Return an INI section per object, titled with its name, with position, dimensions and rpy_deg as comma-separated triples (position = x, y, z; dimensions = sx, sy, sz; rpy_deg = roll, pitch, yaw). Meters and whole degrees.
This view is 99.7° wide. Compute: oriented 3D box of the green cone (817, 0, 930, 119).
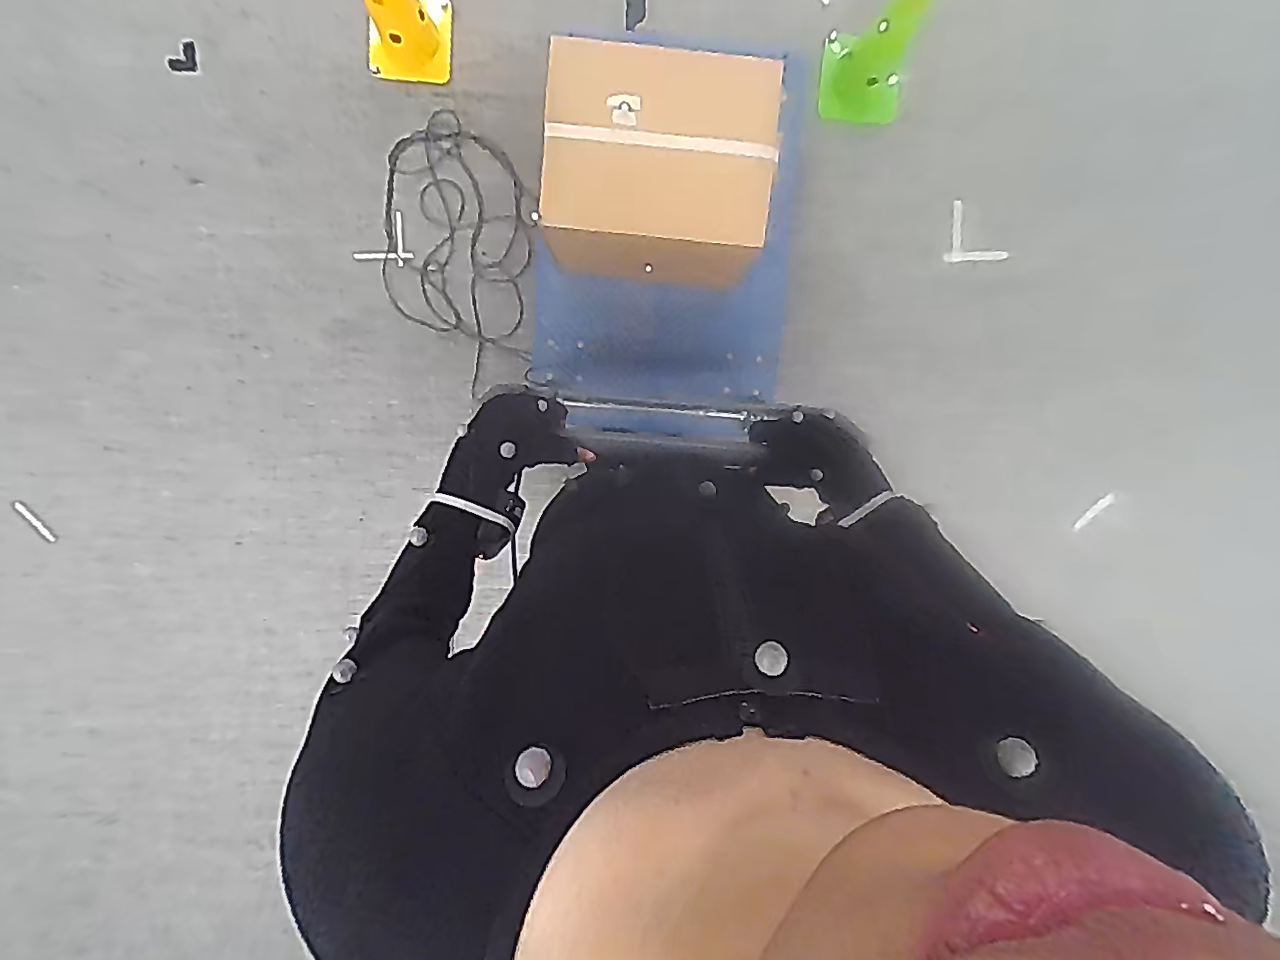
[green cone]
position = 0.561, -1.013, 1.204
dimensions = 0.202, 0.368, 0.200
rpy_deg = 4, 96, -3

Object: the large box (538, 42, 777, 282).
[large box]
position = 0.029, -0.603, 1.092
dimensions = 0.408, 0.320, 0.320
rpy_deg = 5, 96, -1
